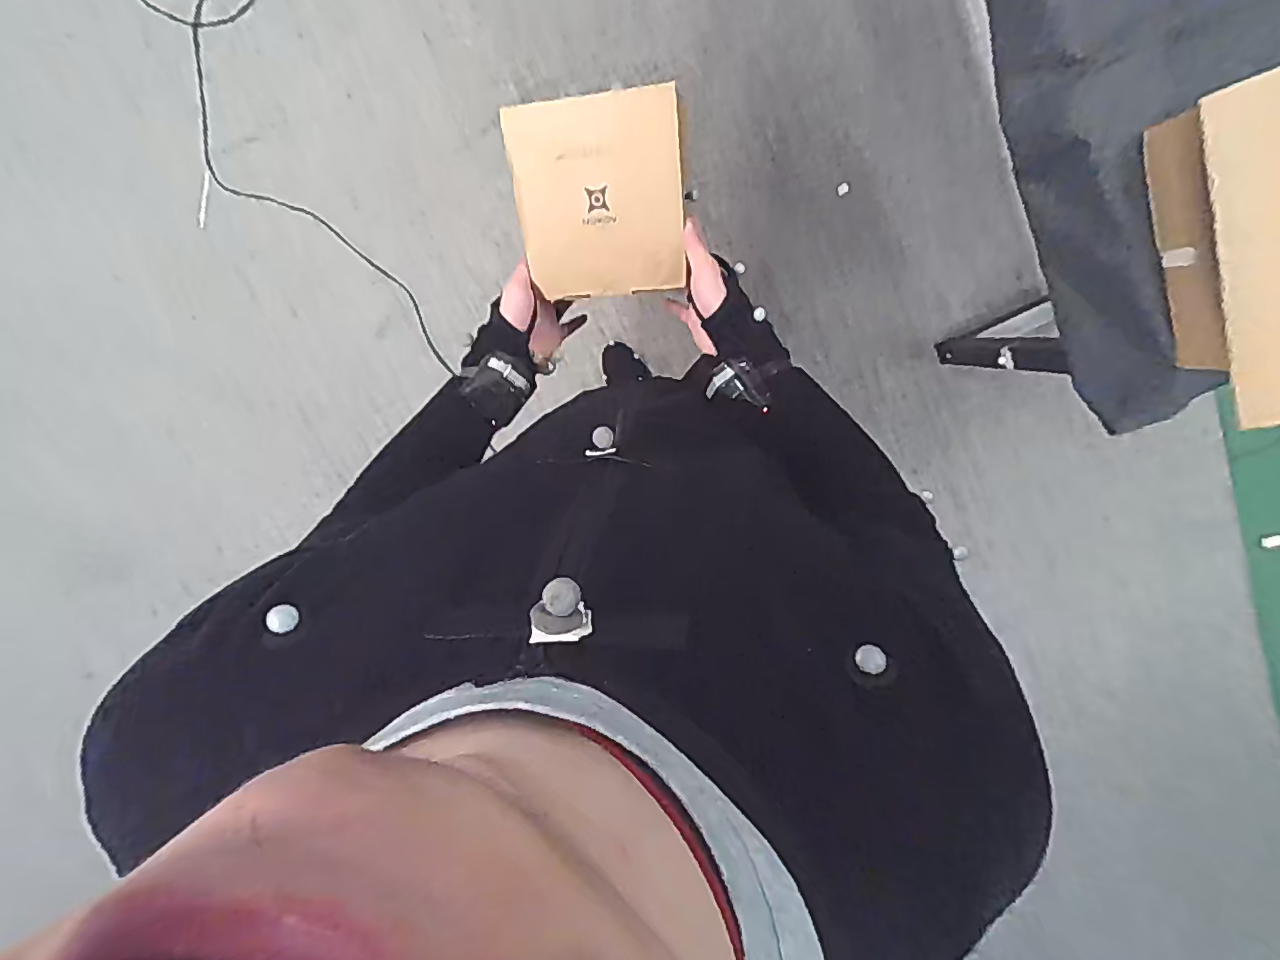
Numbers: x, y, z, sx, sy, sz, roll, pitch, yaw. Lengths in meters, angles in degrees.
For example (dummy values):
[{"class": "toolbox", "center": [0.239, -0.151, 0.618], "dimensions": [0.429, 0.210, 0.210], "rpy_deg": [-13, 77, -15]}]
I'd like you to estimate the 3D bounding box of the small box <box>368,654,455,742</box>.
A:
[{"class": "small box", "center": [-0.717, 0.689, 1.727], "dimensions": [0.179, 0.176, 0.168], "rpy_deg": [-26, 103, 9]}]
